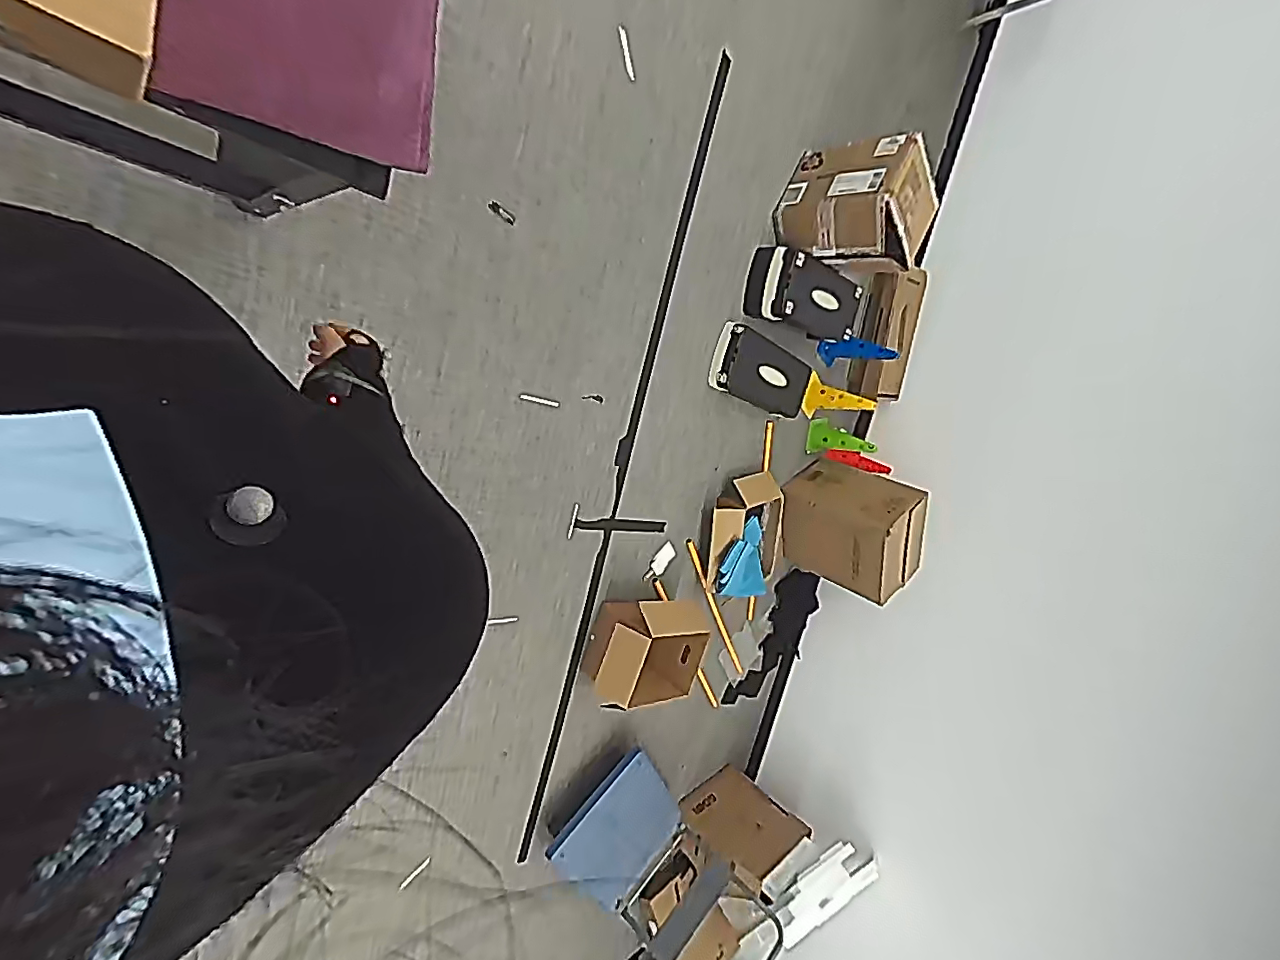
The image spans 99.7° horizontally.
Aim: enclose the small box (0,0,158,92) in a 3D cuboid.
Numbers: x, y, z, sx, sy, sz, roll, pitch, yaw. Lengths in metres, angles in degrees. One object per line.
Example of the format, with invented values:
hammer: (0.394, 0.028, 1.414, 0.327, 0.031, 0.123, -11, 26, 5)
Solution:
small box: (-0.457, -0.427, 0.391, 0.168, 0.176, 0.179, 8, 100, -47)
